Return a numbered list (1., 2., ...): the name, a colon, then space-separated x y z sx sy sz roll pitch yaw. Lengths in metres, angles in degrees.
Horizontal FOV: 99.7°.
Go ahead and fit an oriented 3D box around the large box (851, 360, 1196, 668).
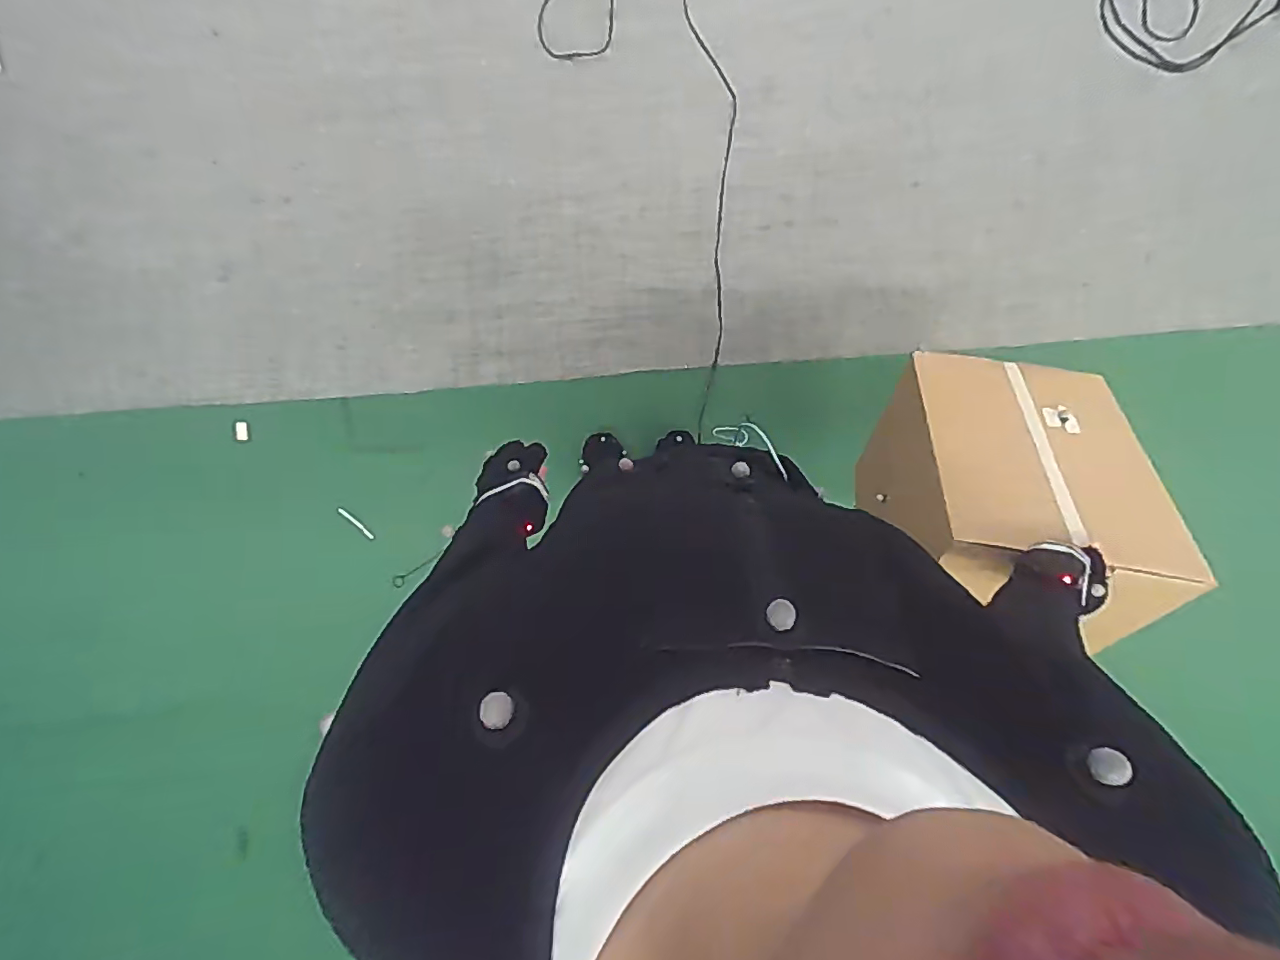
1. large box: 0.577 0.054 0.928 0.320 0.408 0.320 10 139 5
